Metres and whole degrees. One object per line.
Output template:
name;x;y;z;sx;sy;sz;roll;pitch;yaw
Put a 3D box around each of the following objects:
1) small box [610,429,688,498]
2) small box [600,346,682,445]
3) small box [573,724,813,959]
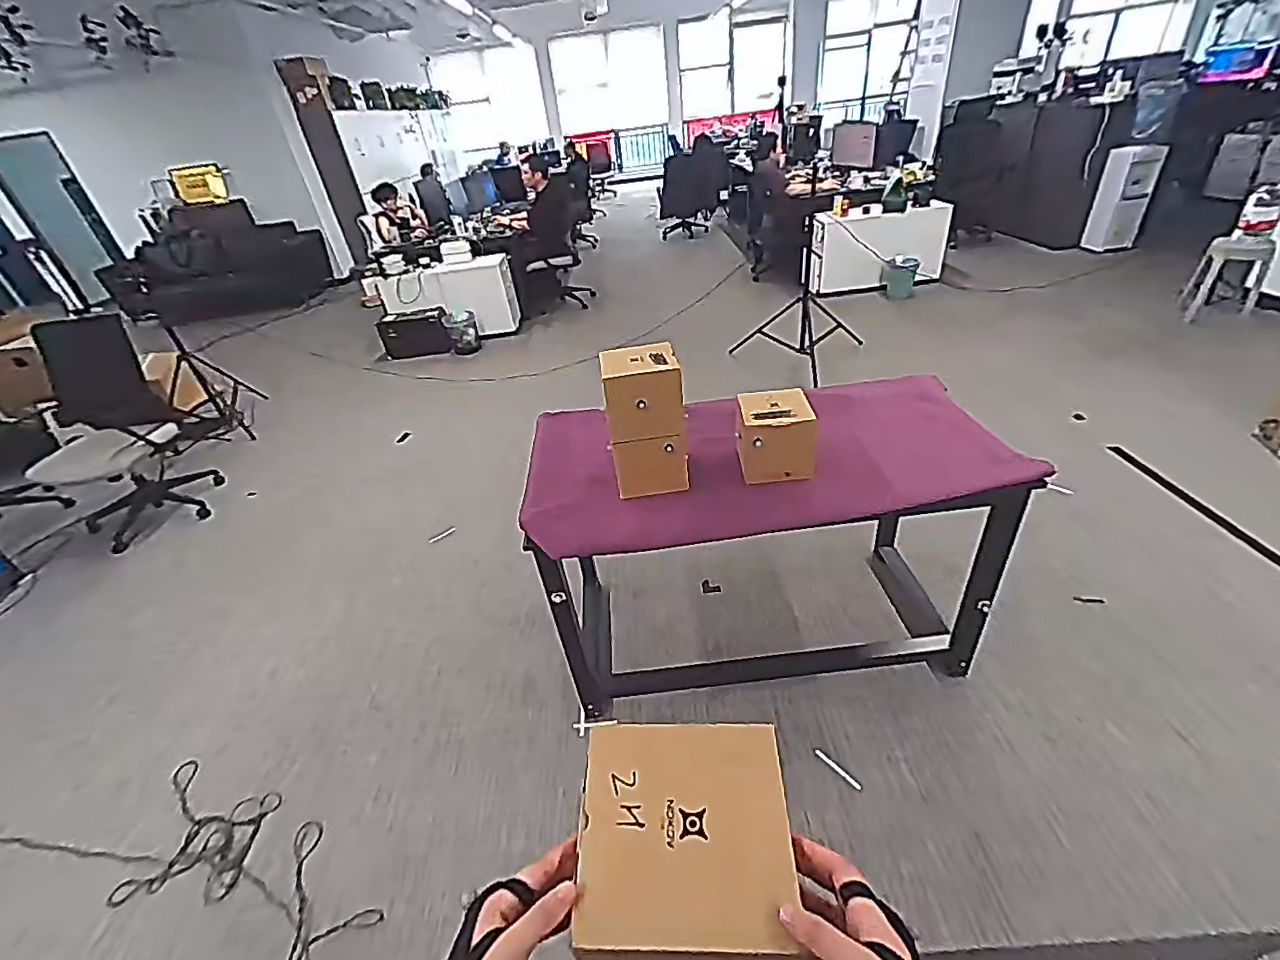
small box;0.020;-0.069;1.382;0.179;0.176;0.168;-8;34;-1
small box;0.004;-0.201;1.286;0.179;0.176;0.168;-9;34;-1
small box;0.047;0.346;0.501;0.179;0.176;0.168;-3;40;5
